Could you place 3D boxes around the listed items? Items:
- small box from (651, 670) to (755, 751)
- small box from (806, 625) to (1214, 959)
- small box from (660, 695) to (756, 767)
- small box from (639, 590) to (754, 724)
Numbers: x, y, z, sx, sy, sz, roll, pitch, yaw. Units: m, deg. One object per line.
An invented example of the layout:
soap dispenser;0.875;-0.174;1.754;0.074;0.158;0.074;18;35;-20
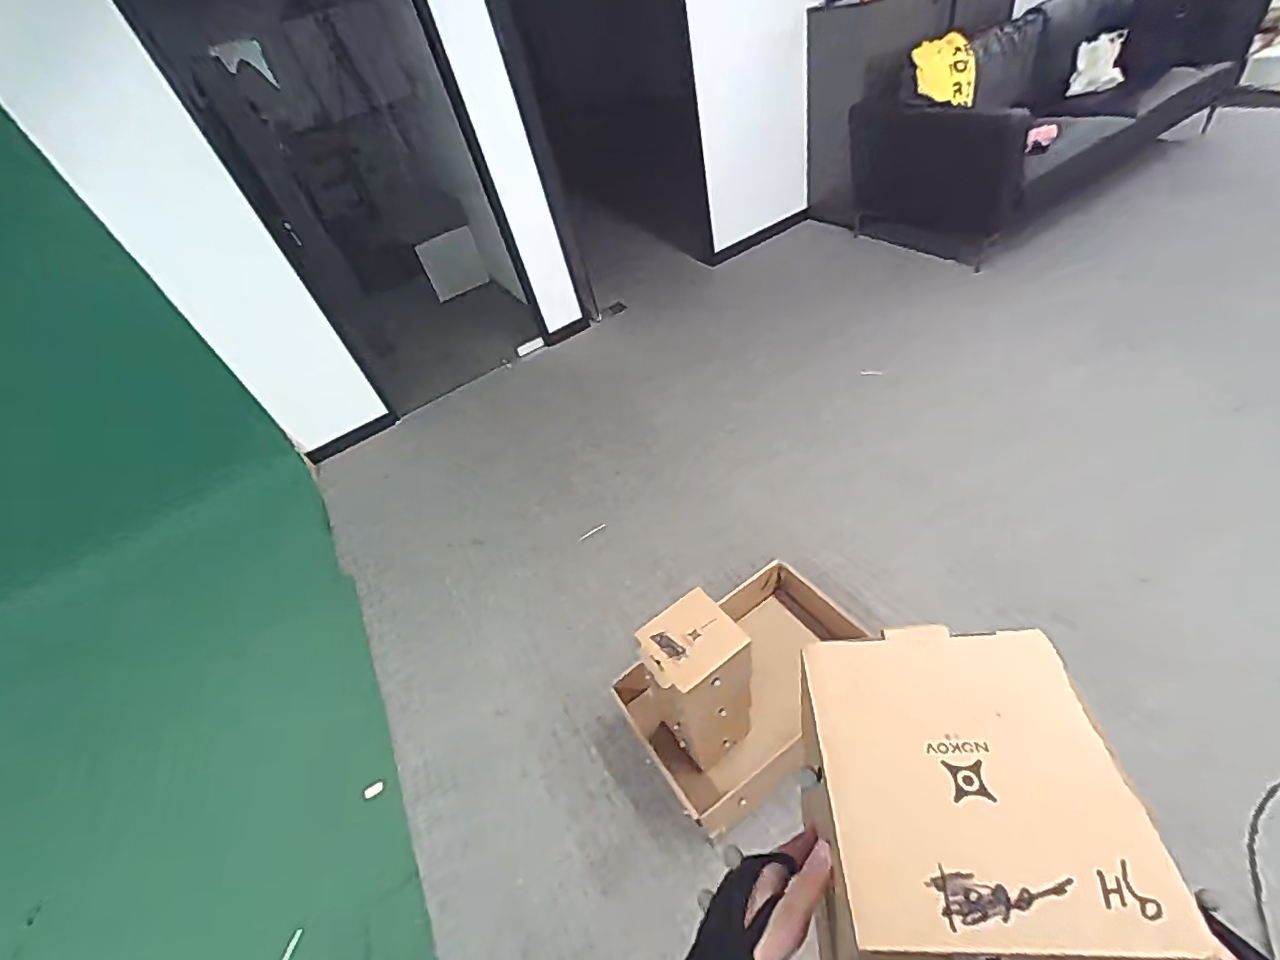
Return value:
small box;0.152;0.487;1.249;0.179;0.176;0.168;-33;47;-17
small box;0.213;0.226;0.383;0.168;0.176;0.179;-7;43;11
small box;0.177;0.595;1.369;0.168;0.176;0.179;-33;46;-18
small box;0.125;0.374;1.134;0.179;0.176;0.168;-33;48;-17
